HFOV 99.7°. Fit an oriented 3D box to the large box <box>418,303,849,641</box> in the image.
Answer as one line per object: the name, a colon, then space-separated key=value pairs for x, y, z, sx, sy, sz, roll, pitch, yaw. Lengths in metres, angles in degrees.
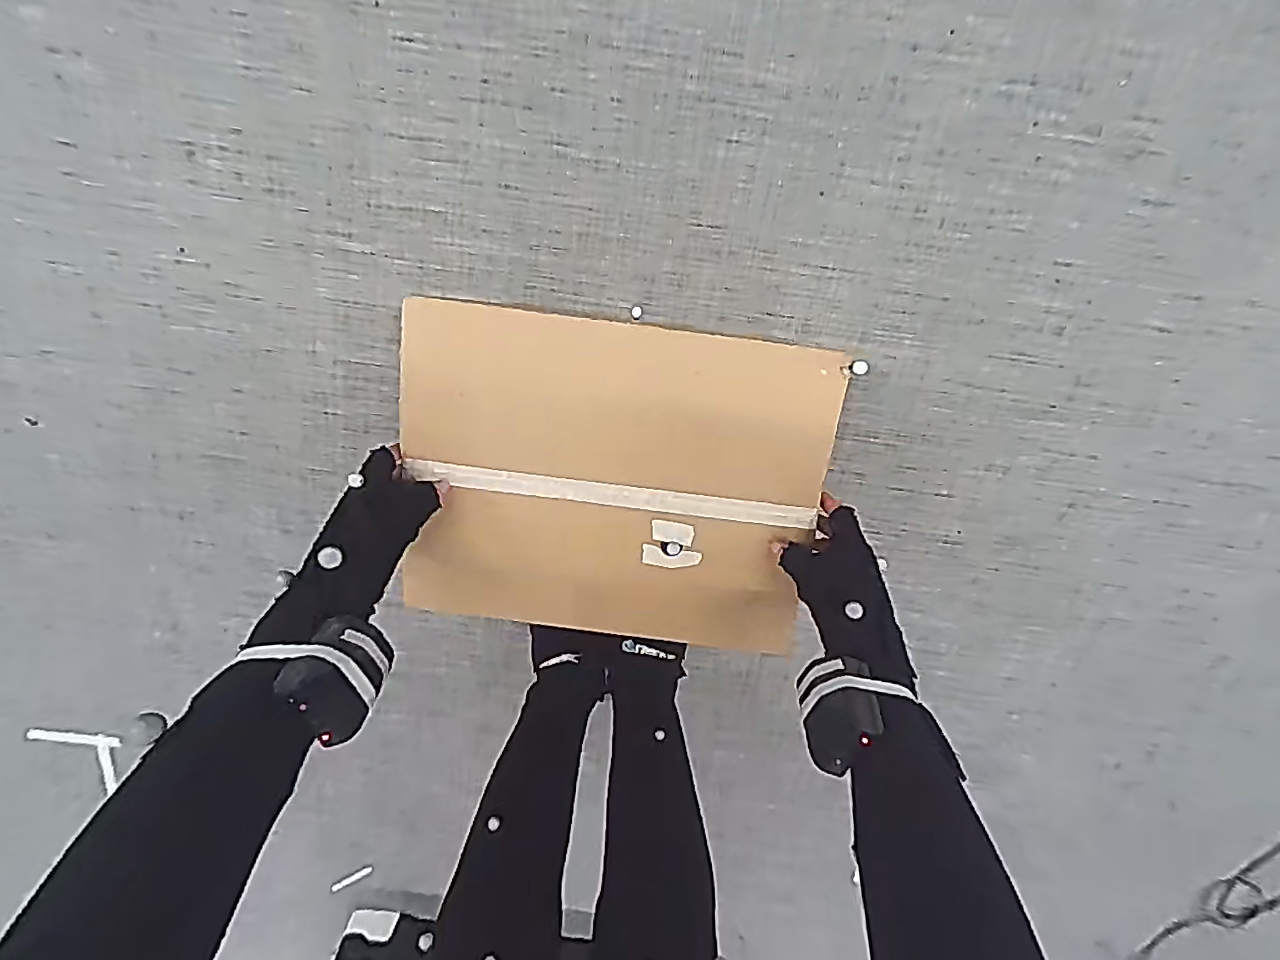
large box: x=-0.019 y=-0.034 z=0.675 sx=0.408 sy=0.320 sz=0.320 roll=7 pitch=107 yaw=-1
